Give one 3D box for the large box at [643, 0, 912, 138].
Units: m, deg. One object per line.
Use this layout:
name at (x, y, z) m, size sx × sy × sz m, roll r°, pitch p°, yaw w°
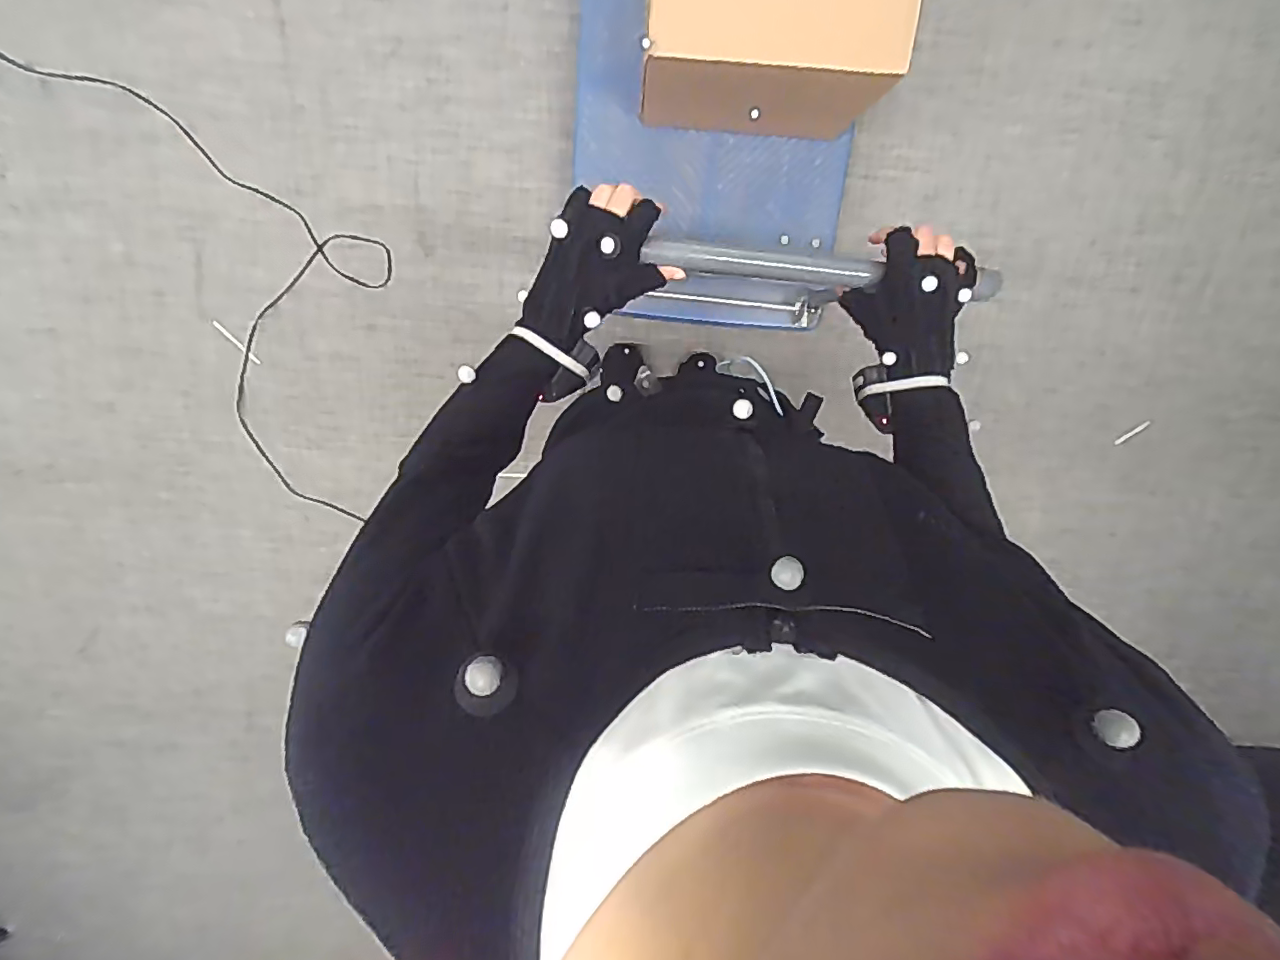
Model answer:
large box at (0.215, -0.819, 0.934) m, size 0.408 × 0.320 × 0.320 m, roll 3°, pitch 105°, yaw -1°
